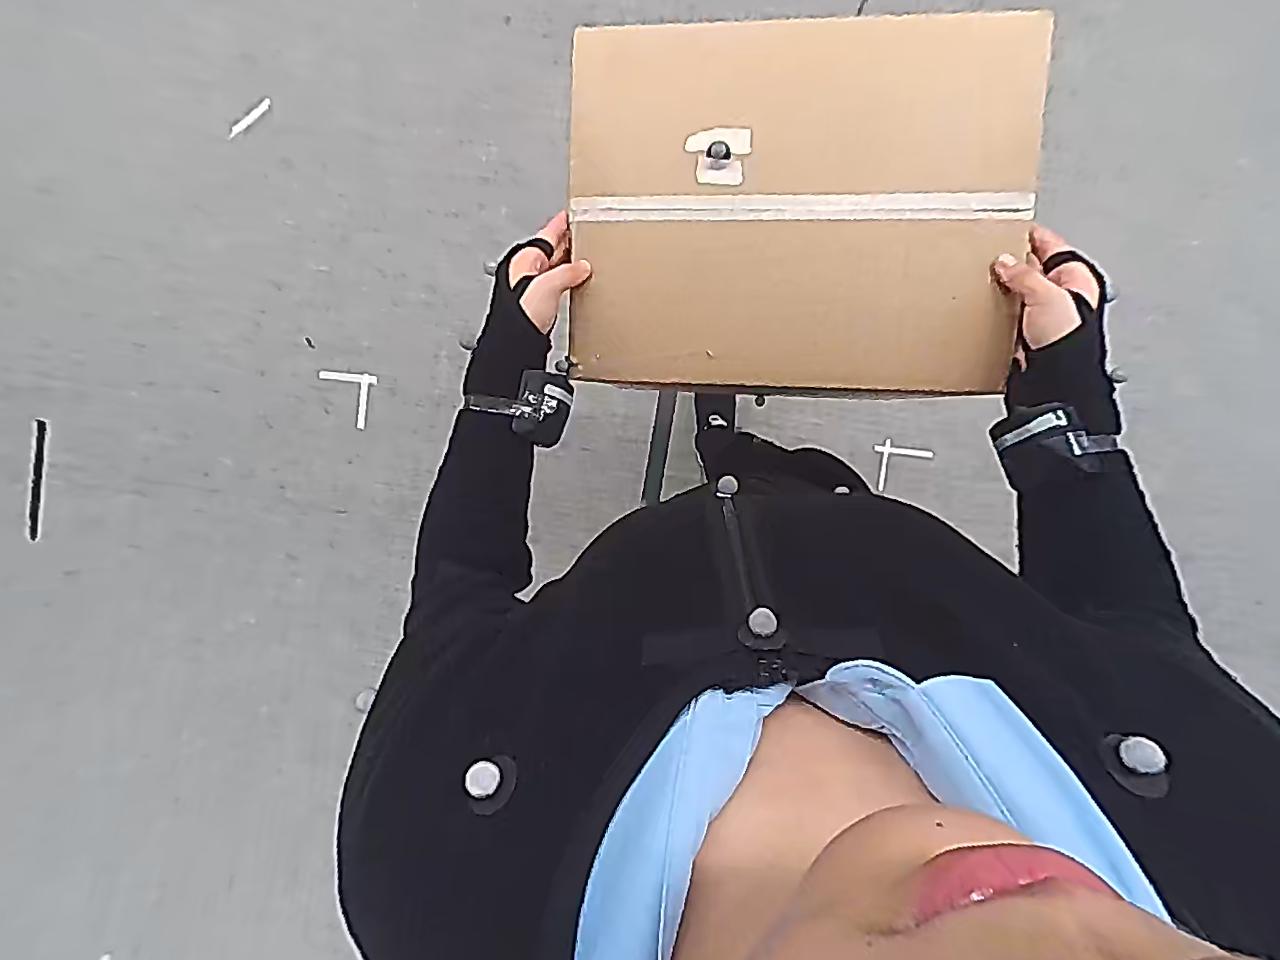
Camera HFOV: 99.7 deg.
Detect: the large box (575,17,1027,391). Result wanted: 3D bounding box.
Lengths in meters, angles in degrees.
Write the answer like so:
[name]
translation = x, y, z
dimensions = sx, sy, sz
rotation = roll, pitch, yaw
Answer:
[large box]
translation = 0.154, -0.267, 0.650
dimensions = 0.408, 0.320, 0.320
rotation = 2, 96, 7
